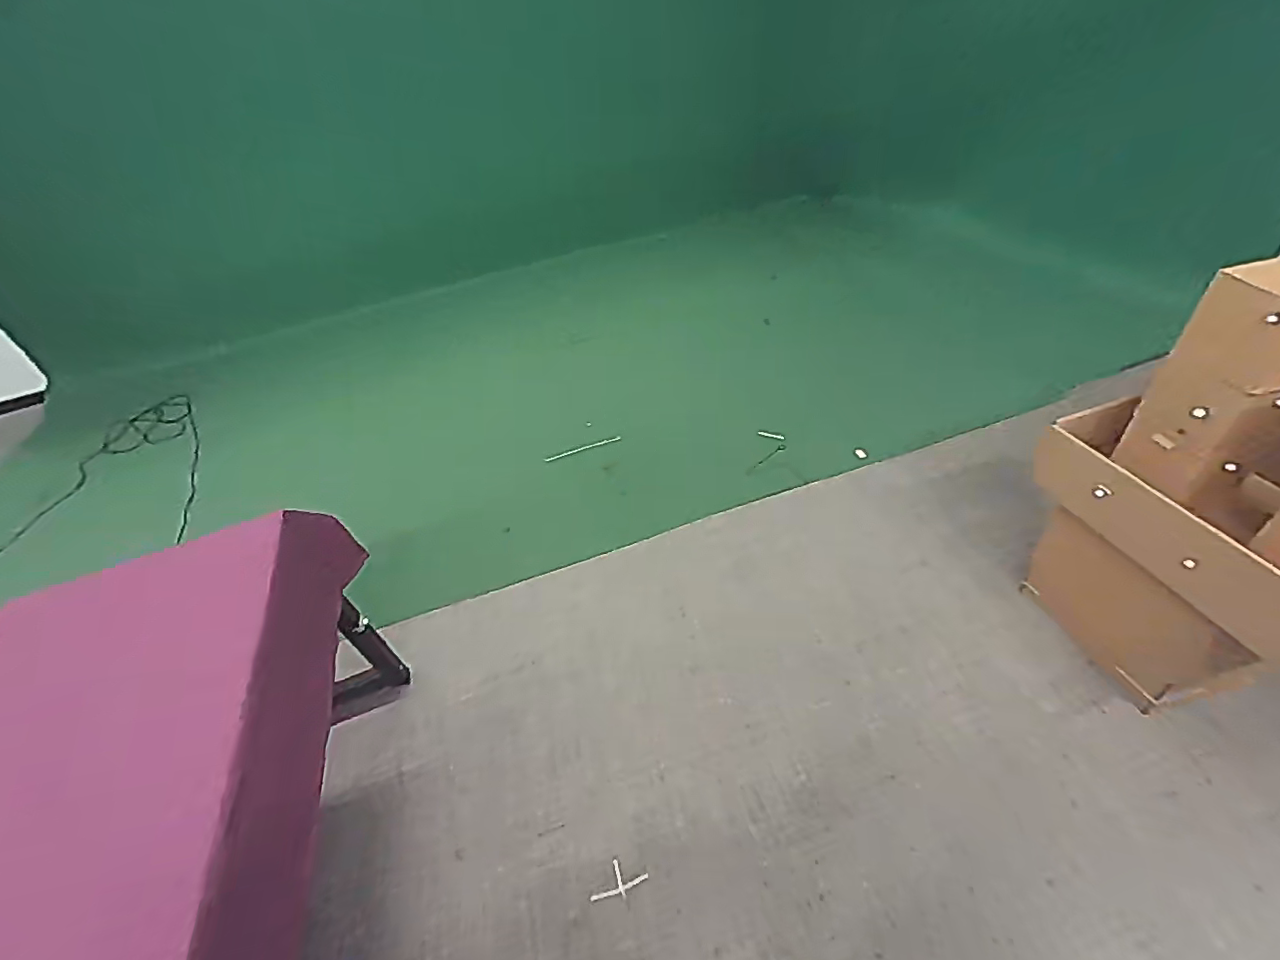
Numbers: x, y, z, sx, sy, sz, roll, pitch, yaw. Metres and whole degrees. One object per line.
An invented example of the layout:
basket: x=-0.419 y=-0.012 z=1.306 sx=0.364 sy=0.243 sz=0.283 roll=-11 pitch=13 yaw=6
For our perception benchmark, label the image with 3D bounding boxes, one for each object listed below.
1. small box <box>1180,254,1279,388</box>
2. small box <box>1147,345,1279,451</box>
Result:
small box: x=1.163 y=-0.292 z=0.982 sx=0.168 sy=0.176 sz=0.179 roll=-11 pitch=44 yaw=1
small box: x=1.192 y=-0.179 z=1.095 sx=0.179 sy=0.176 sz=0.168 roll=-13 pitch=43 yaw=-2
